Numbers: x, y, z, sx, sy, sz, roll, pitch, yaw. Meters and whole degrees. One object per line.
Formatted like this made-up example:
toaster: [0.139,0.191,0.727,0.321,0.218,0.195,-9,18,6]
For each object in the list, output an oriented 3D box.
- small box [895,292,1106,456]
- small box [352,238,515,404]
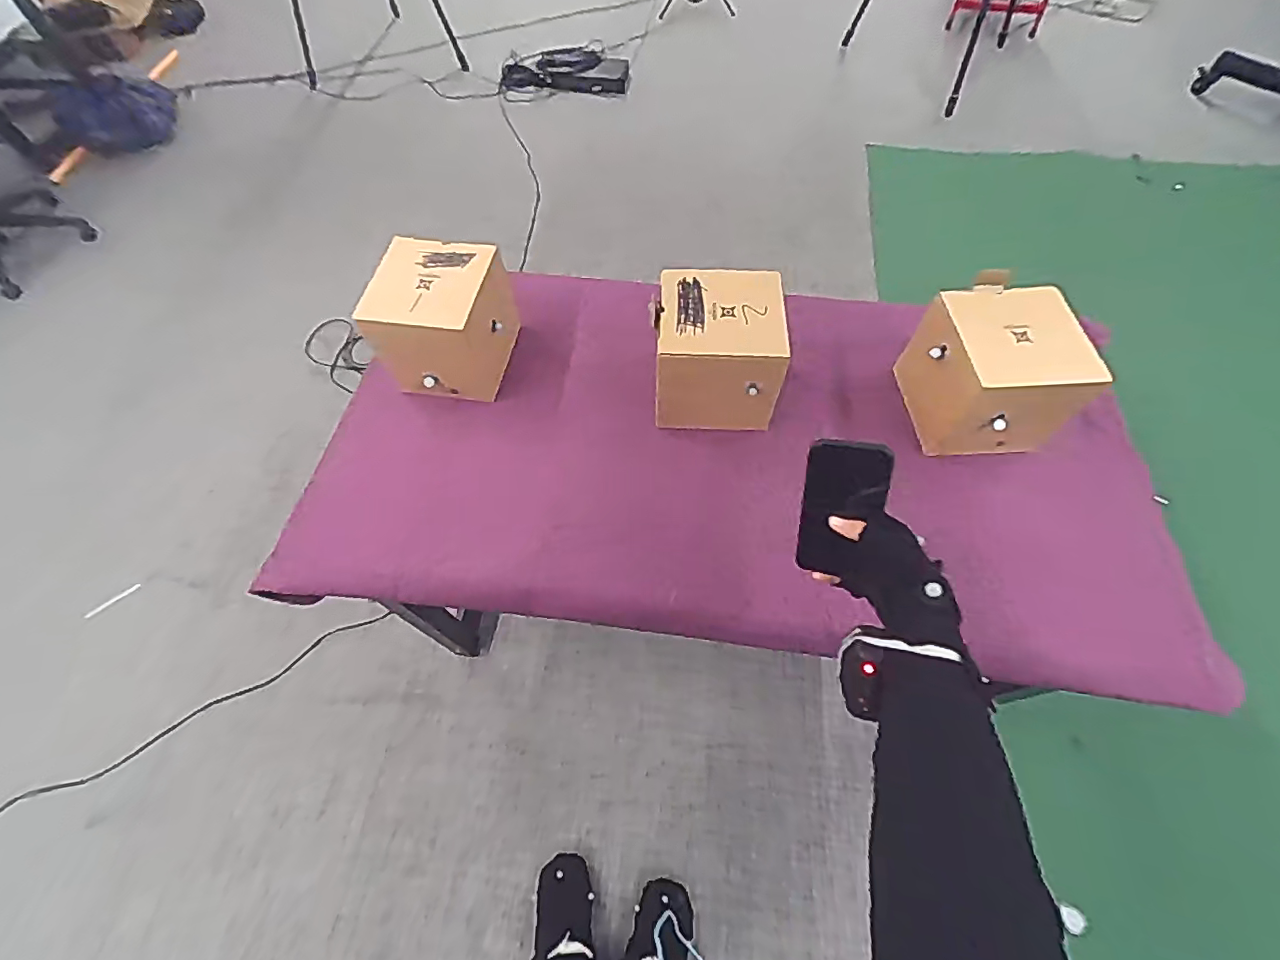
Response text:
small box: [0.499,-0.144,0.782,0.168,0.176,0.179,-3,59,0]
small box: [-0.306,-0.246,0.850,0.168,0.176,0.179,8,62,5]
